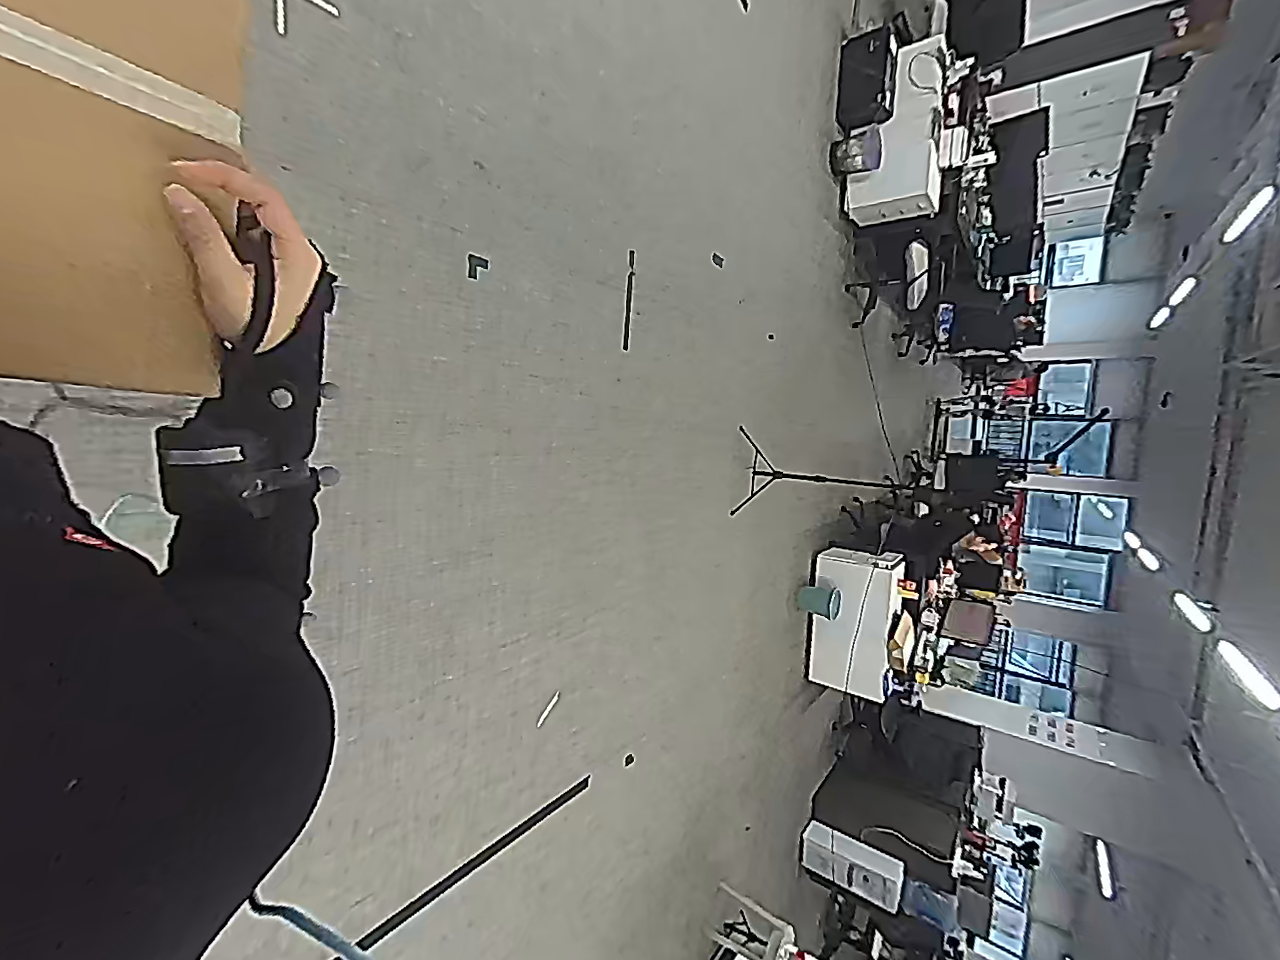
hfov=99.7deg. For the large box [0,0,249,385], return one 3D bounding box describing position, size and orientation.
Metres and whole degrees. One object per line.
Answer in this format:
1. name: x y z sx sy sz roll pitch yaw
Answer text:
1. large box: -0.482 -0.236 0.262 0.408 0.320 0.320 0 103 -53
